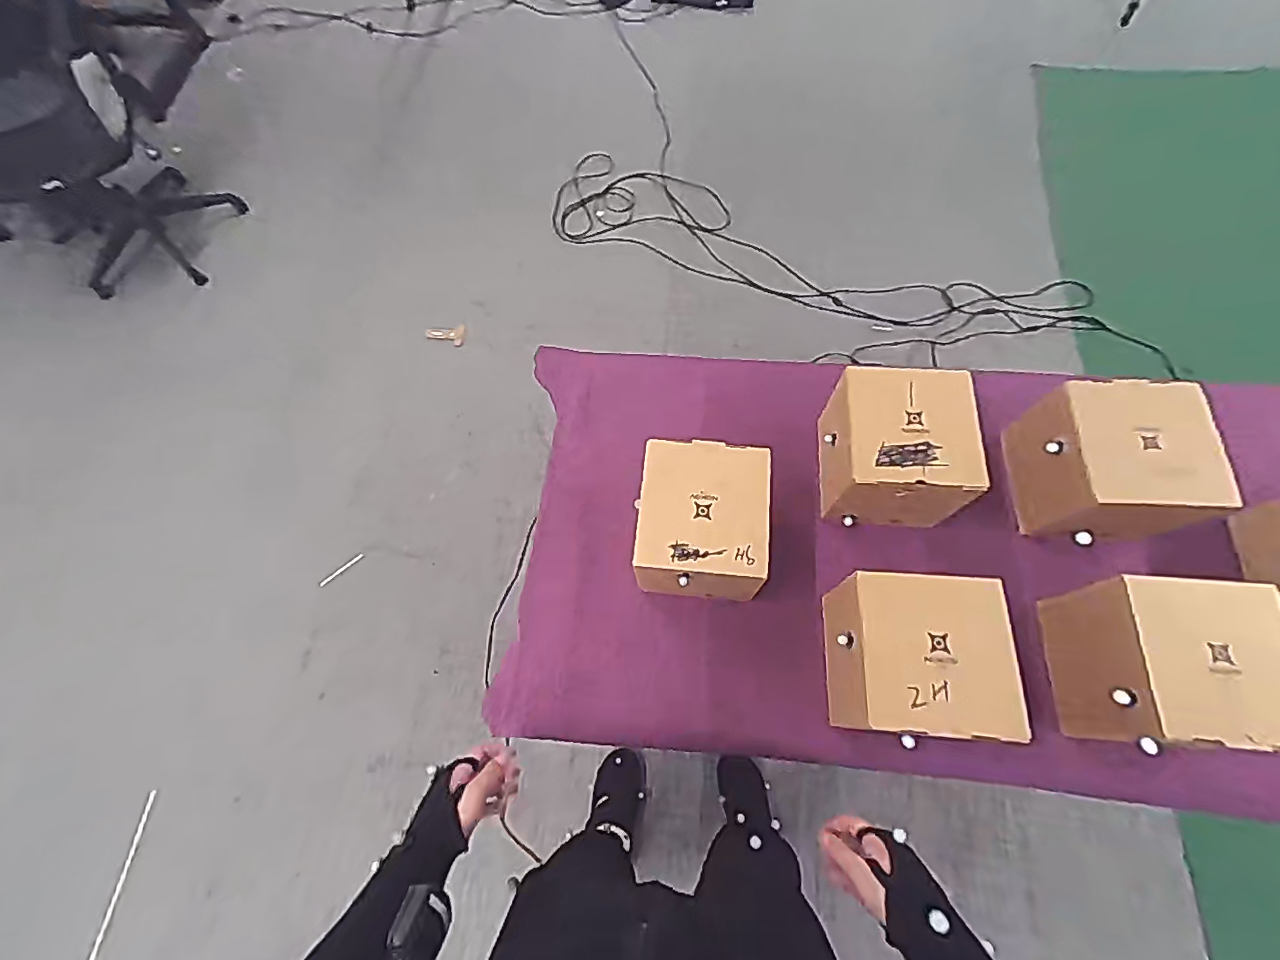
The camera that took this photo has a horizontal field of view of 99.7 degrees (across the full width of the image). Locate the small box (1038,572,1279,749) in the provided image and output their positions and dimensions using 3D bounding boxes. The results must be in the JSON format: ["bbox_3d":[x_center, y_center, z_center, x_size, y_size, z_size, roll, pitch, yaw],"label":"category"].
[{"bbox_3d":[0.633,0.223,0.666,0.168,0.176,0.179,4,68,5],"label":"small box"}]

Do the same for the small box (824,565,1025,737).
[{"bbox_3d":[0.337,0.218,0.681,0.168,0.176,0.179,3,68,5],"label":"small box"}]

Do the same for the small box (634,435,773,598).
[{"bbox_3d":[0.088,0.056,0.759,0.168,0.176,0.179,5,68,7],"label":"small box"}]

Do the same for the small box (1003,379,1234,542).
[{"bbox_3d":[0.648,-0.022,0.762,0.168,0.176,0.179,3,69,5],"label":"small box"}]

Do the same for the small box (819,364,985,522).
[{"bbox_3d":[0.365,-0.046,0.786,0.168,0.176,0.179,4,68,4],"label":"small box"}]
